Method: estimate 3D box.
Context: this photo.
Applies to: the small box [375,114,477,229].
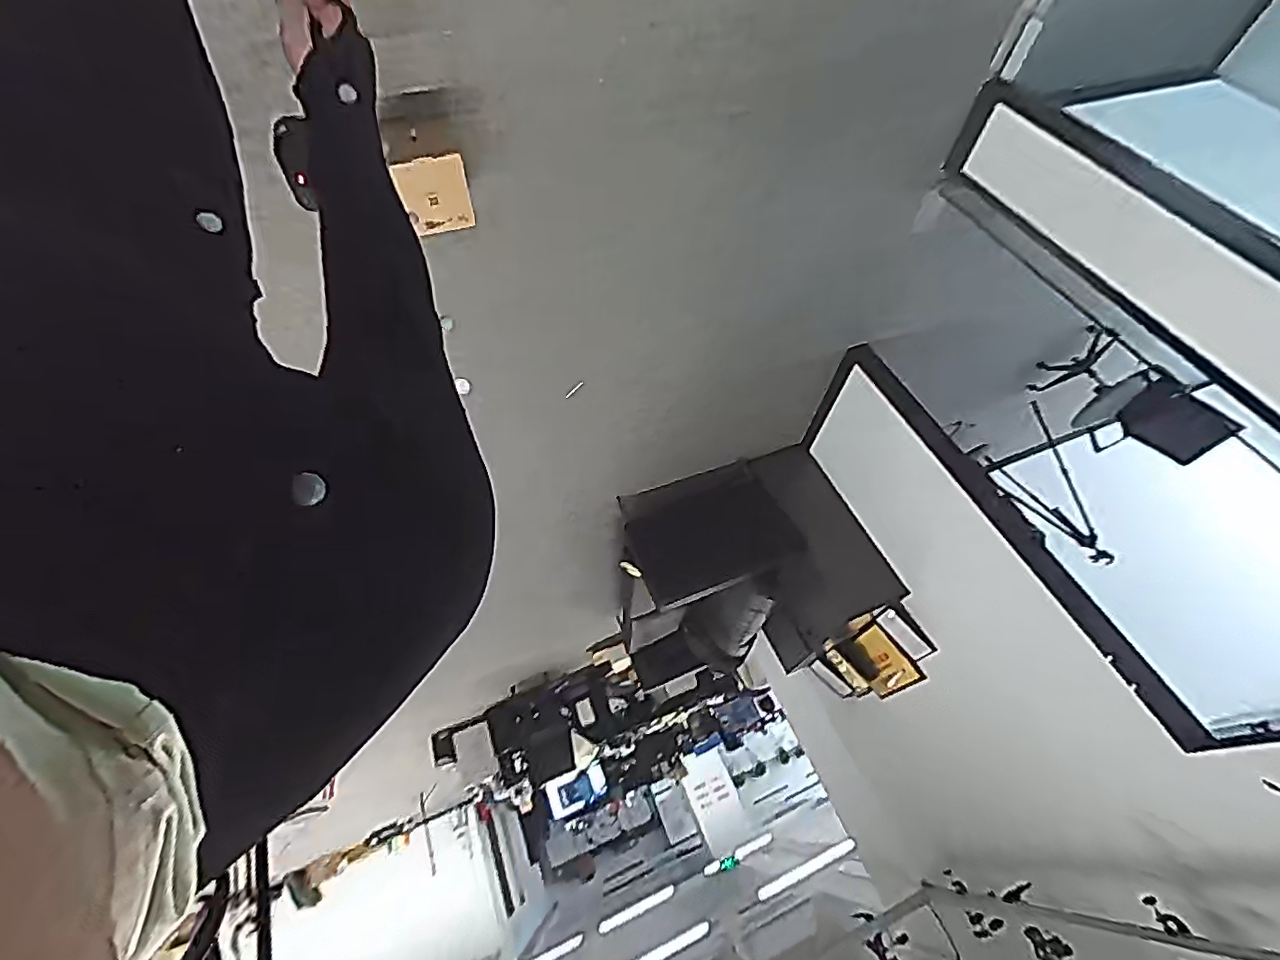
[{"bbox_3d":[-0.499,-0.726,1.265,0.168,0.176,0.179,-18,151,-14],"label":"small box"}]
